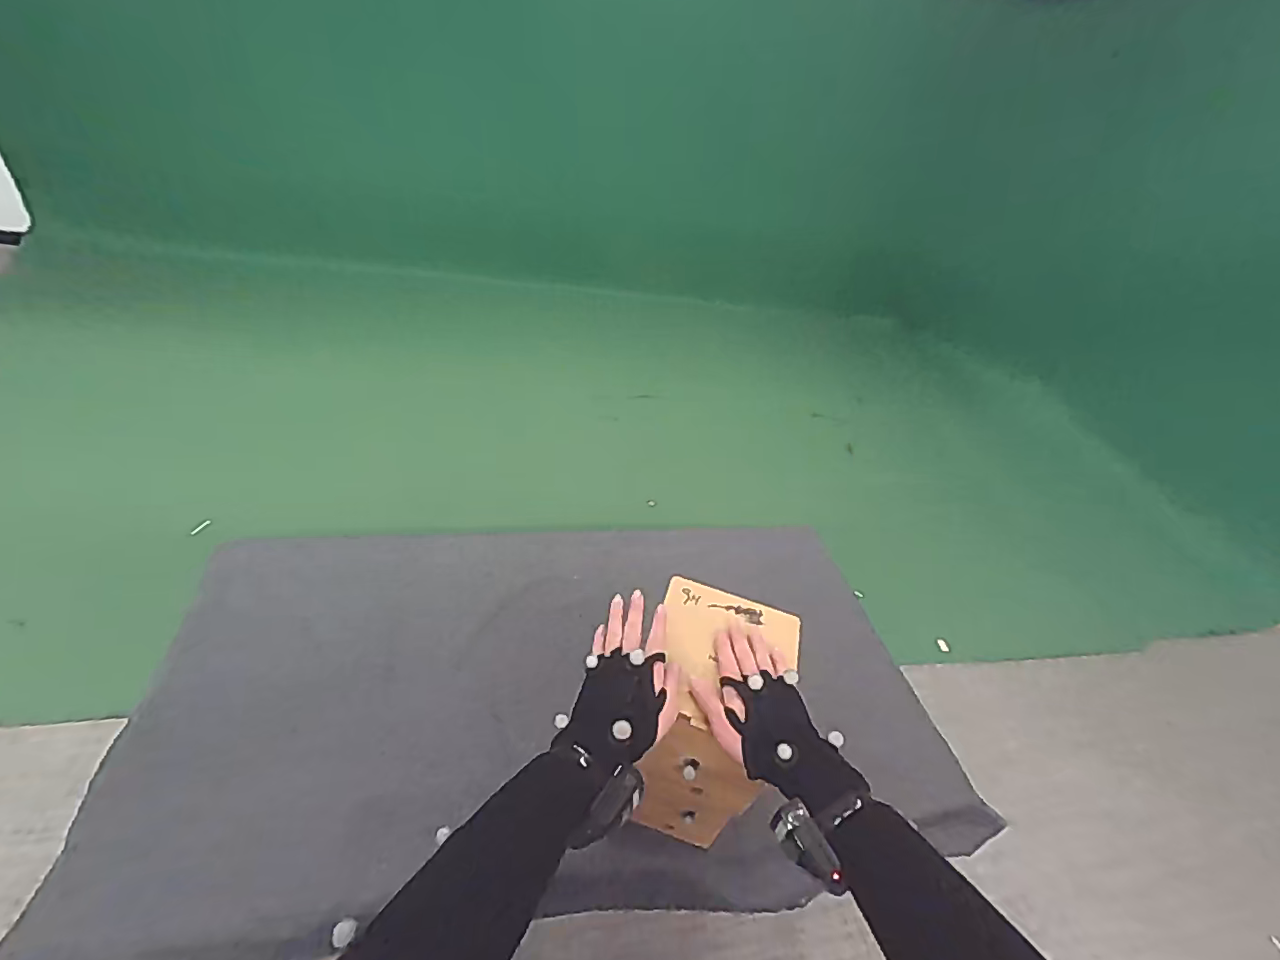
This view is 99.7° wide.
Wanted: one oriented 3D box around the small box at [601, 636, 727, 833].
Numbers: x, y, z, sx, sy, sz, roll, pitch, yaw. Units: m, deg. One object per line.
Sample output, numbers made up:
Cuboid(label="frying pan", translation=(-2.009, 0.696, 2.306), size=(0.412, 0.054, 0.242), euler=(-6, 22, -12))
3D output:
Cuboid(label="small box", translation=(0.049, 0.363, 0.770), size=(0.168, 0.176, 0.179), euler=(18, 39, 5))

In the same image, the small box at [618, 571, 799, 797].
Cuboid(label="small box", translation=(0.079, 0.249, 0.657), size=(0.168, 0.176, 0.179), euler=(19, 42, 5))
